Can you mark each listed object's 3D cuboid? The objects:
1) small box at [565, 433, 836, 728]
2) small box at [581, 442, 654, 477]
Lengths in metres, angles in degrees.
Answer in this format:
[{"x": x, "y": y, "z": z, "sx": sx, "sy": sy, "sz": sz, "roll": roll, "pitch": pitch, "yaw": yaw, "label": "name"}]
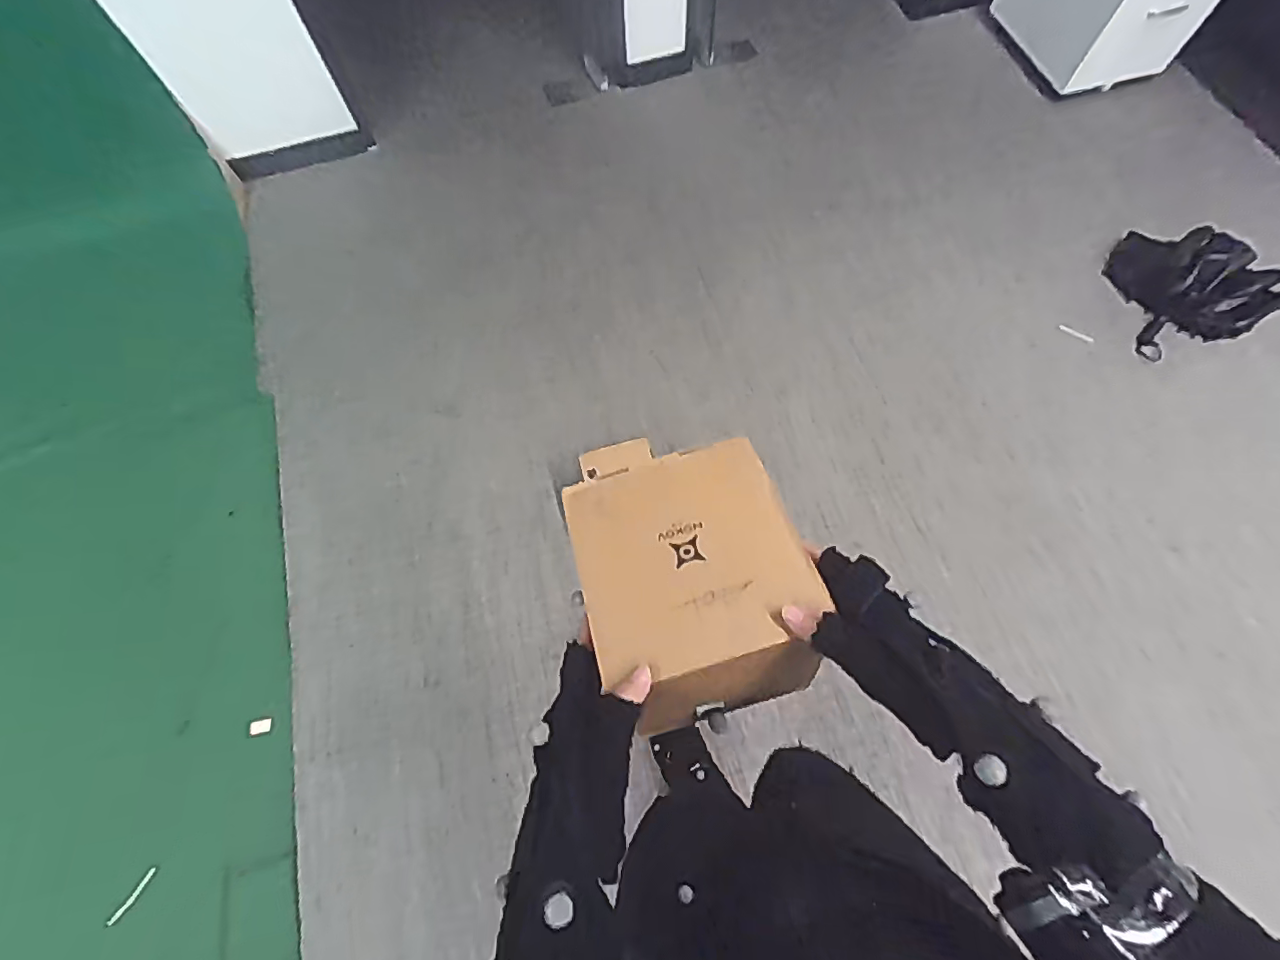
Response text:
[{"x": 0.044, "y": 0.093, "z": 0.475, "sx": 0.168, "sy": 0.176, "sz": 0.179, "roll": -17, "pitch": 55, "yaw": -2, "label": "small box"}, {"x": -0.041, "y": 0.028, "z": 1.363, "sx": 0.179, "sy": 0.176, "sz": 0.168, "roll": -14, "pitch": 68, "yaw": -4, "label": "small box"}]
